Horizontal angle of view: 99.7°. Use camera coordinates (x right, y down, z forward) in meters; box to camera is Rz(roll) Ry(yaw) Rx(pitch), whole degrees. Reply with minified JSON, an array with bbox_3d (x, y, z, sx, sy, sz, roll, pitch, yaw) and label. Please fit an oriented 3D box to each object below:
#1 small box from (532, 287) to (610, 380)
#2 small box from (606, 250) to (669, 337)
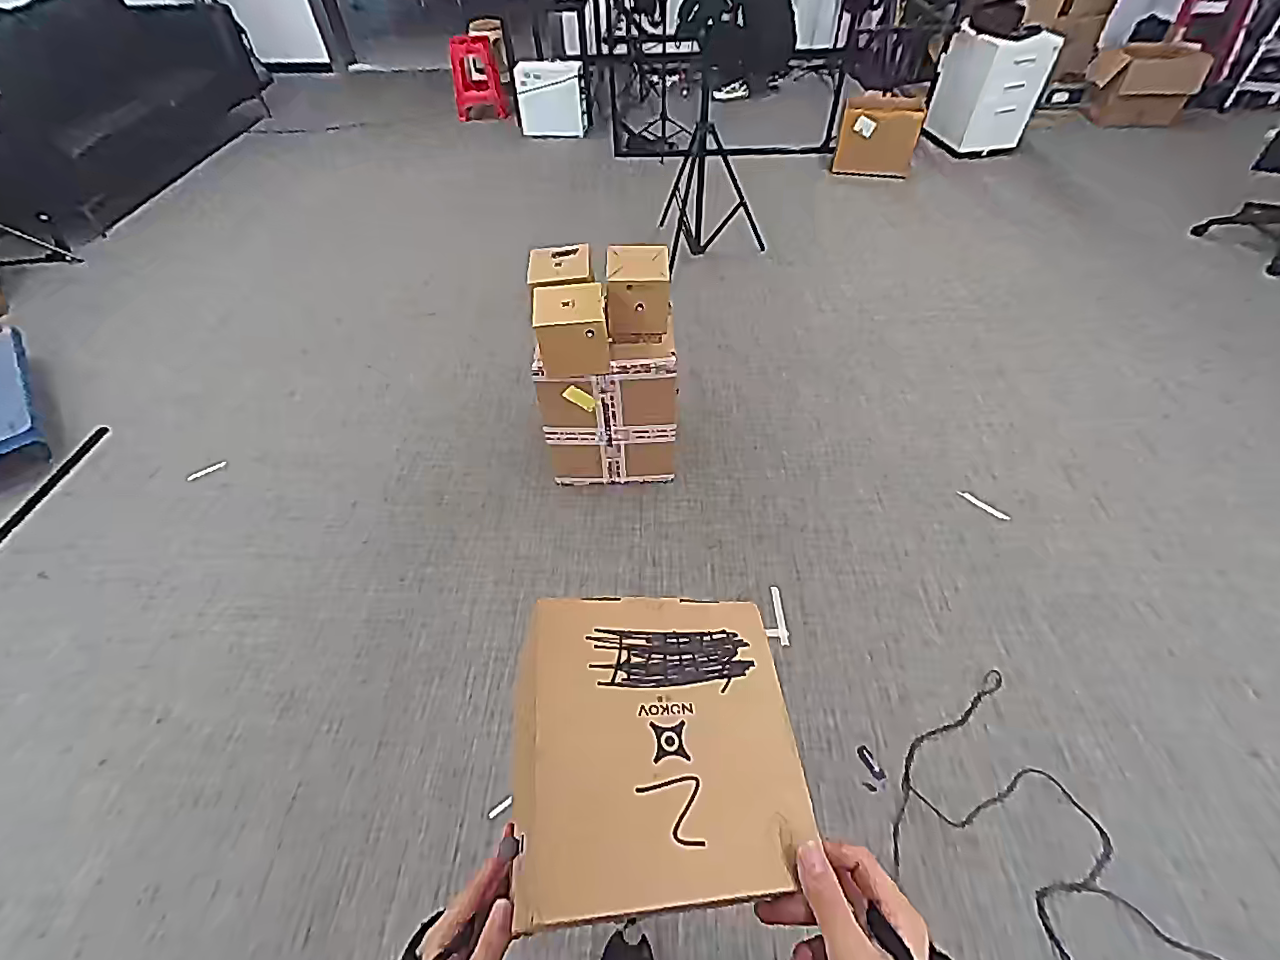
[{"bbox_3d":[-0.176,-0.377,1.405,0.179,0.176,0.168,-6,52,-3],"label":"small box"},{"bbox_3d":[-0.008,-0.519,1.506,0.168,0.176,0.179,0,51,-1],"label":"small box"}]
